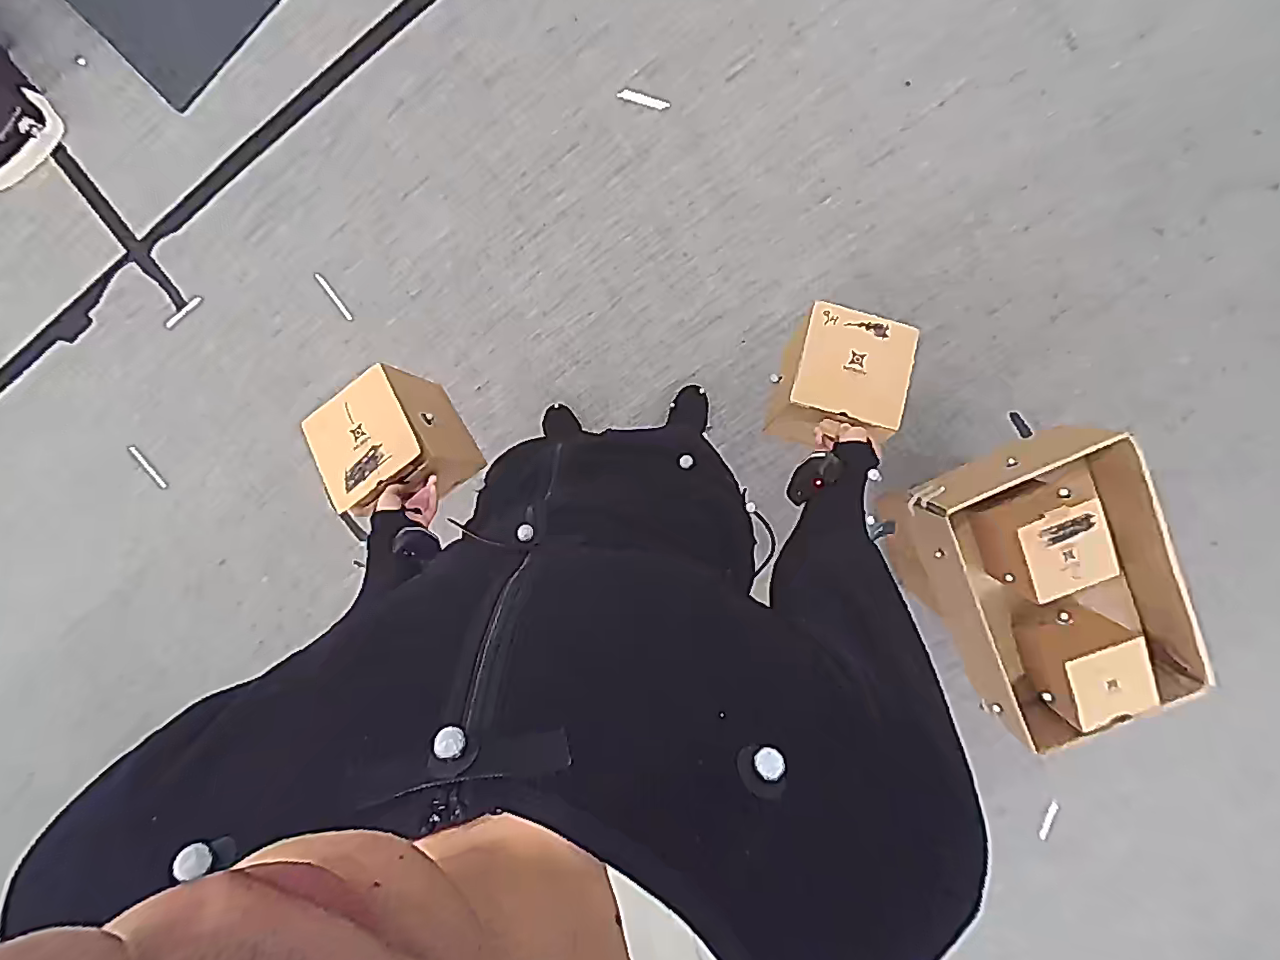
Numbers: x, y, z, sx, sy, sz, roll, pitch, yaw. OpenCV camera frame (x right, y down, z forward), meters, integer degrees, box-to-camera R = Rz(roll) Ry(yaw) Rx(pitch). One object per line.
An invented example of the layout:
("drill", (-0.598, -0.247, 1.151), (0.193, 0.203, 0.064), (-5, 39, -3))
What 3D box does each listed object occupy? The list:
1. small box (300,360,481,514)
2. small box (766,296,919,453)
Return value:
("small box", (-0.393, -0.062, 0.878), (0.168, 0.176, 0.179), (-34, 80, 9))
("small box", (0.315, -0.159, 0.877), (0.168, 0.176, 0.179), (17, 79, 2))
